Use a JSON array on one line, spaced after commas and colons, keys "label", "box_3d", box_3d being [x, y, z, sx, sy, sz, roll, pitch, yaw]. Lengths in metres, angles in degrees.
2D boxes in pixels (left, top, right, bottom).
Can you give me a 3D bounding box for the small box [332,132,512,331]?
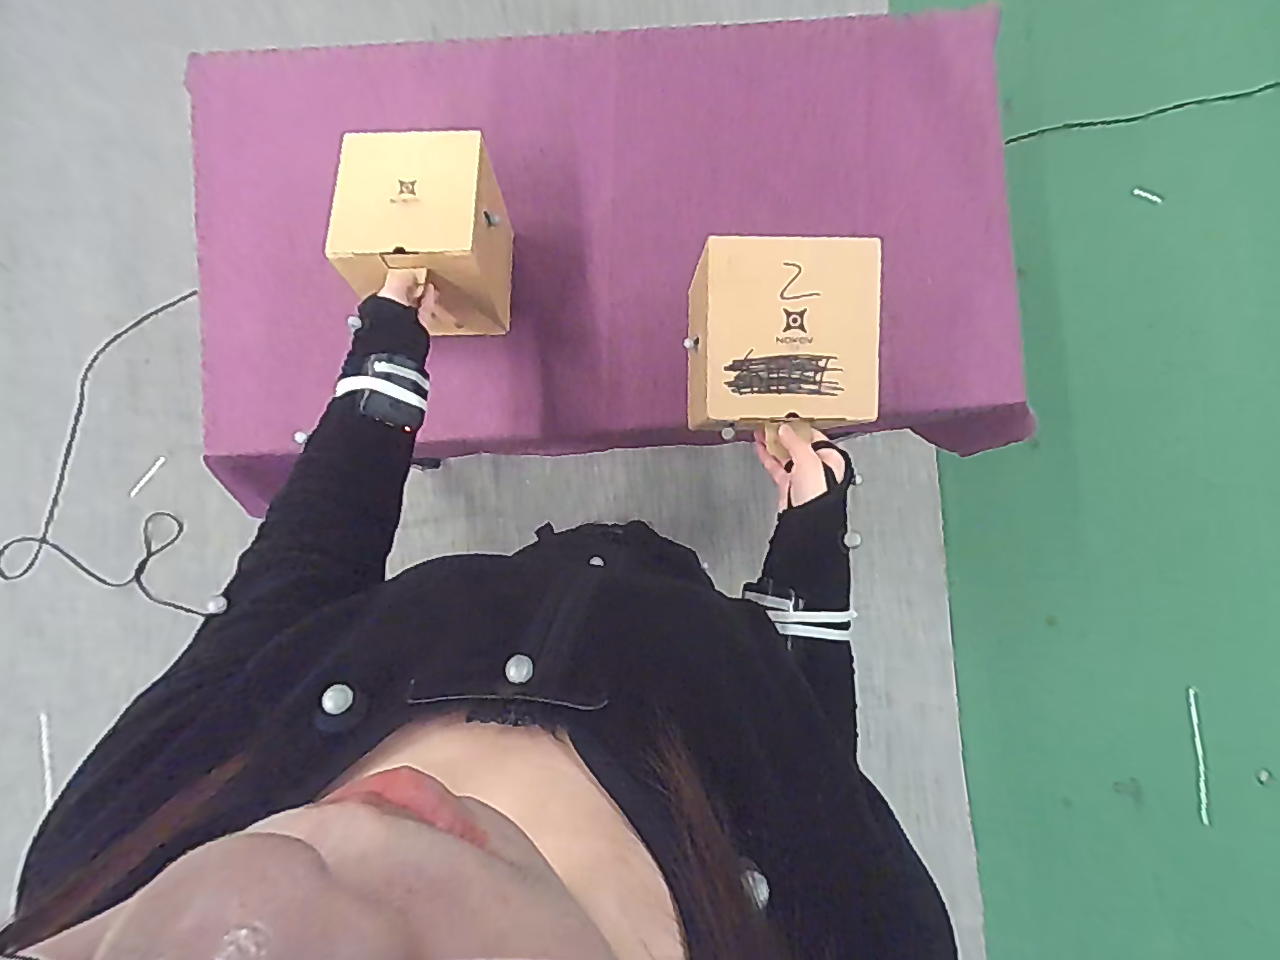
[{"label": "small box", "box_3d": [-0.271, -0.319, 0.714, 0.168, 0.176, 0.179, -1, 75, -1]}]
